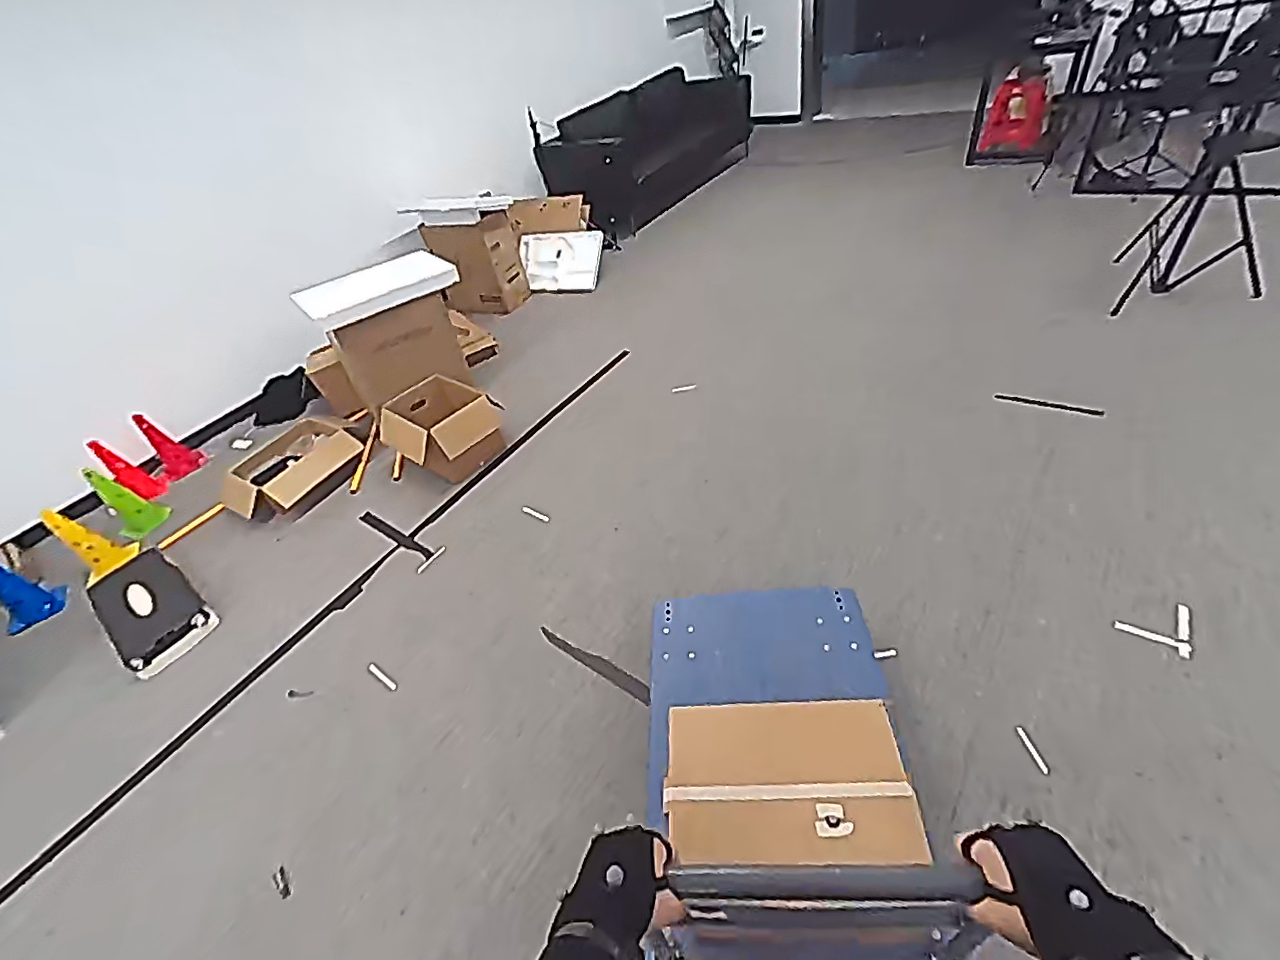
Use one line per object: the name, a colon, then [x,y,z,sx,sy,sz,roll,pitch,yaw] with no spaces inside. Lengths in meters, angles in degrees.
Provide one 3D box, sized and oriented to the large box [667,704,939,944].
large box: [0.266,0.648,1.016,0.408,0.320,0.320,-5,43,7]
